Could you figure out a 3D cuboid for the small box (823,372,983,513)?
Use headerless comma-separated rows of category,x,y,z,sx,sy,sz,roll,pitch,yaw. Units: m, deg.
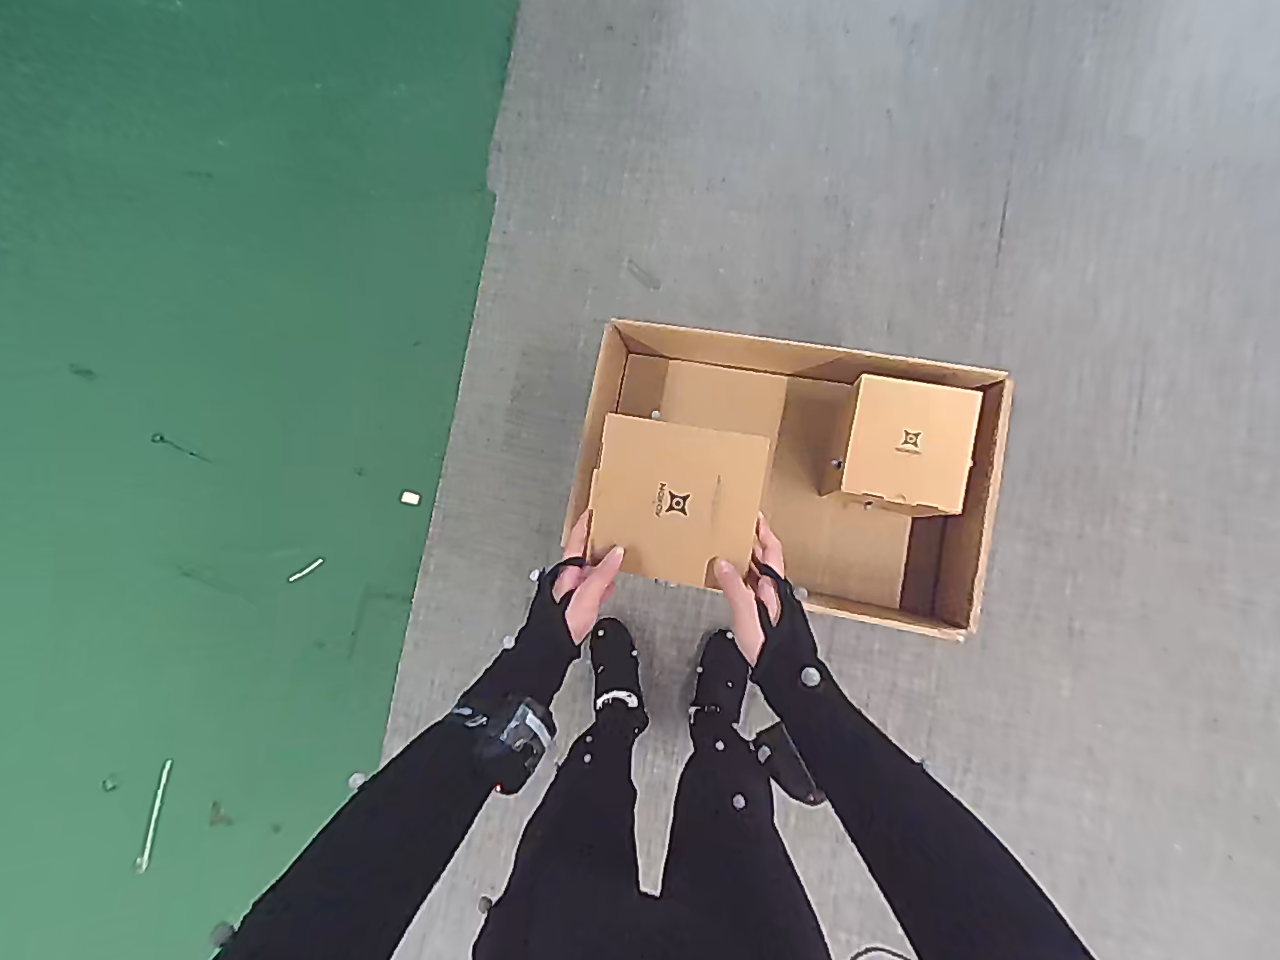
small box,0.394,-0.050,0.839,0.168,0.176,0.179,12,88,9

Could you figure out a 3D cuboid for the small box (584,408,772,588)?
small box,0.048,0.017,0.645,0.179,0.176,0.168,10,93,7
